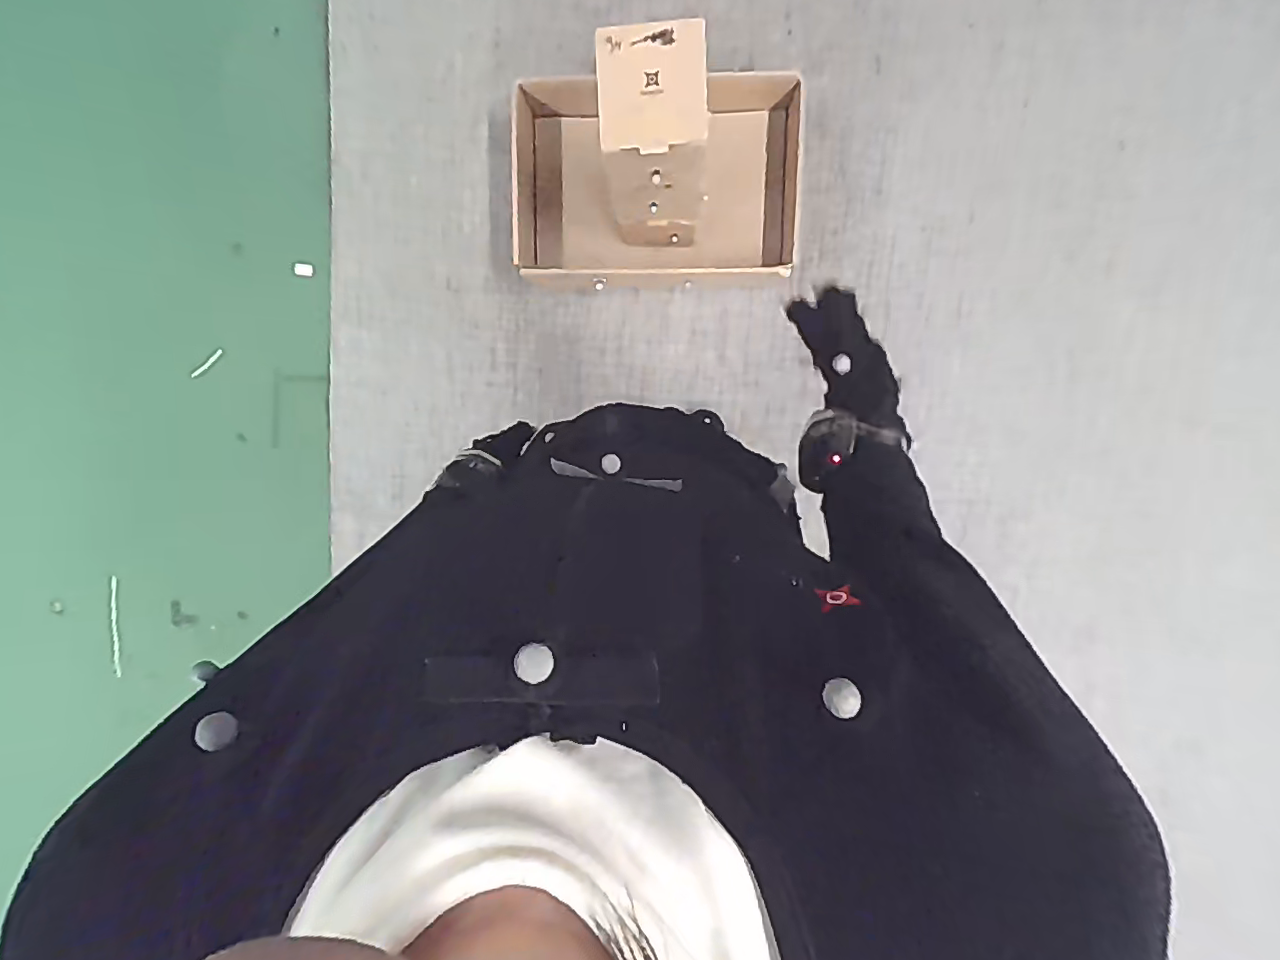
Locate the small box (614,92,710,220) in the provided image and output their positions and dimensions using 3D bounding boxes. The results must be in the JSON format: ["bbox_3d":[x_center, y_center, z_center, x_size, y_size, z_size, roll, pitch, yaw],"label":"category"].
[{"bbox_3d":[0.039,-0.621,1.053,0.179,0.176,0.168,-2,98,3],"label":"small box"}]

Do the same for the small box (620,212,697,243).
[{"bbox_3d":[0.048,-0.646,1.214,0.168,0.176,0.179,3,97,3],"label":"small box"}]

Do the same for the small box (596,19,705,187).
[{"bbox_3d":[0.023,-0.602,0.891,0.168,0.176,0.179,-1,98,4],"label":"small box"}]
